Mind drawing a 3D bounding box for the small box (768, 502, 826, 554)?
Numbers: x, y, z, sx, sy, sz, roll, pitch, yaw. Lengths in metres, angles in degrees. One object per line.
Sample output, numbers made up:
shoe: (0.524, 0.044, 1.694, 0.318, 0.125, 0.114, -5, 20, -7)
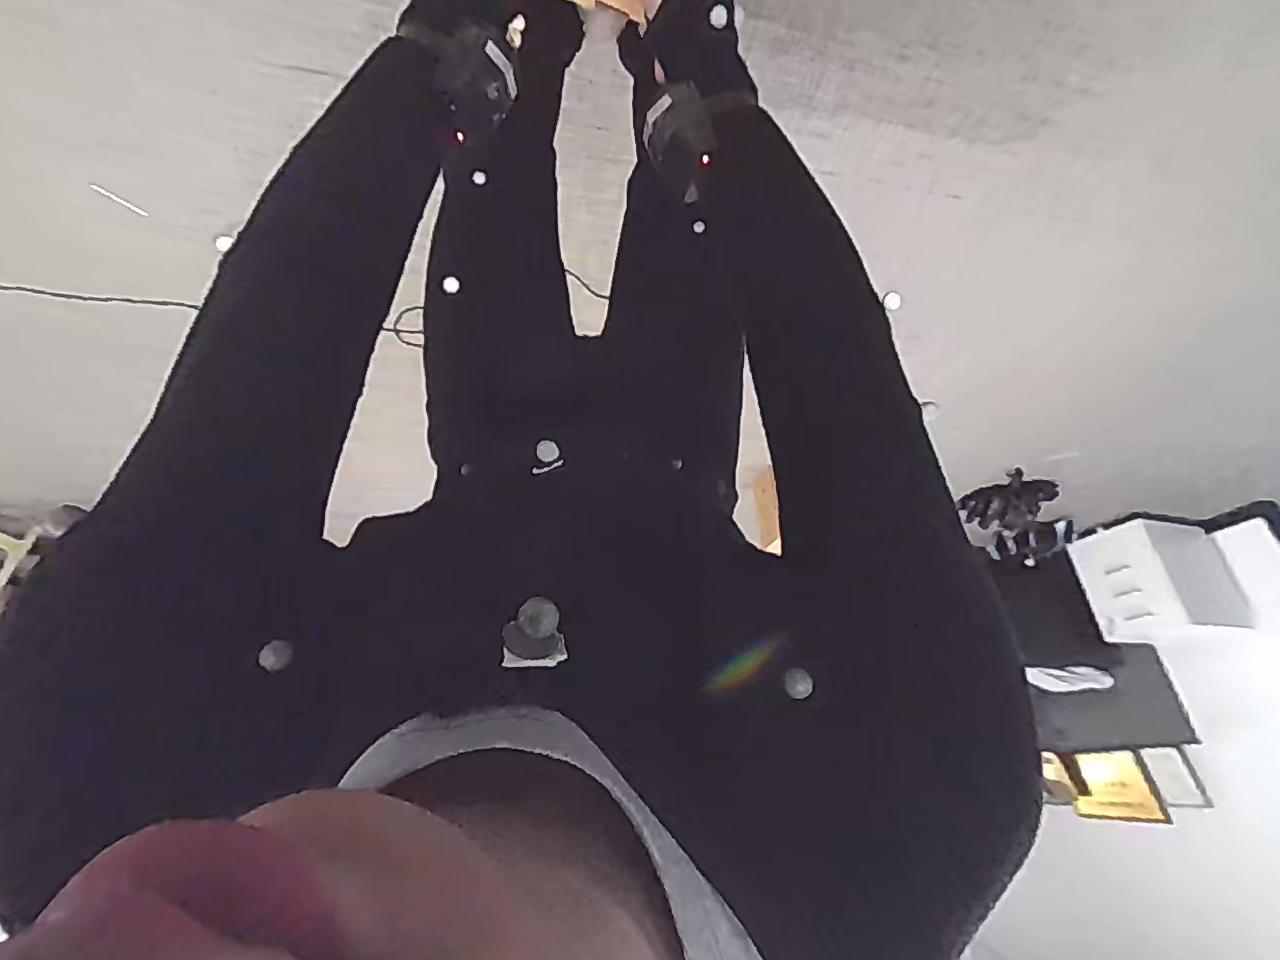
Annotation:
small box: (0.641, 0.199, 2.240, 0.168, 0.176, 0.179, 3, 153, -10)

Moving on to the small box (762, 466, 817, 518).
small box: (0.635, 0.057, 2.317, 0.168, 0.176, 0.179, 3, 151, -11)
